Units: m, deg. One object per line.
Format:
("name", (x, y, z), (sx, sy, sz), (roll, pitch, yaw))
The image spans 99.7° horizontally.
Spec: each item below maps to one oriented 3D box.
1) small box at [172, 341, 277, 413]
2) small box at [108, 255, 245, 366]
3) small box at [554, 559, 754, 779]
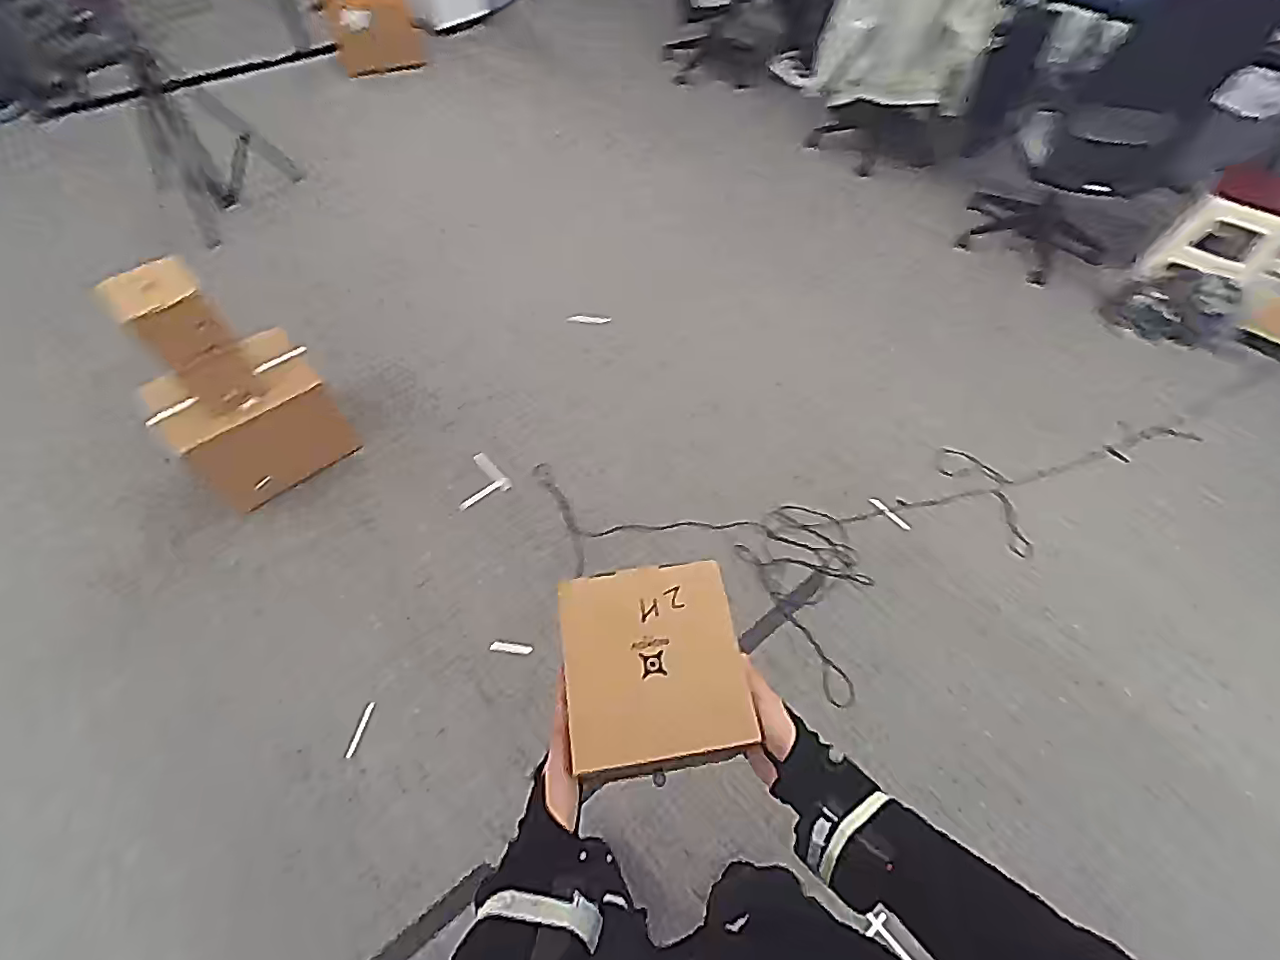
("small box", (-1.122, -0.314, 1.442), (0.168, 0.176, 0.179), (-37, 67, -23))
("small box", (-1.107, -0.400, 1.305), (0.168, 0.176, 0.179), (-38, 66, -24))
("small box", (0.005, 0.205, 0.569), (0.168, 0.176, 0.179), (-7, 58, -7))
